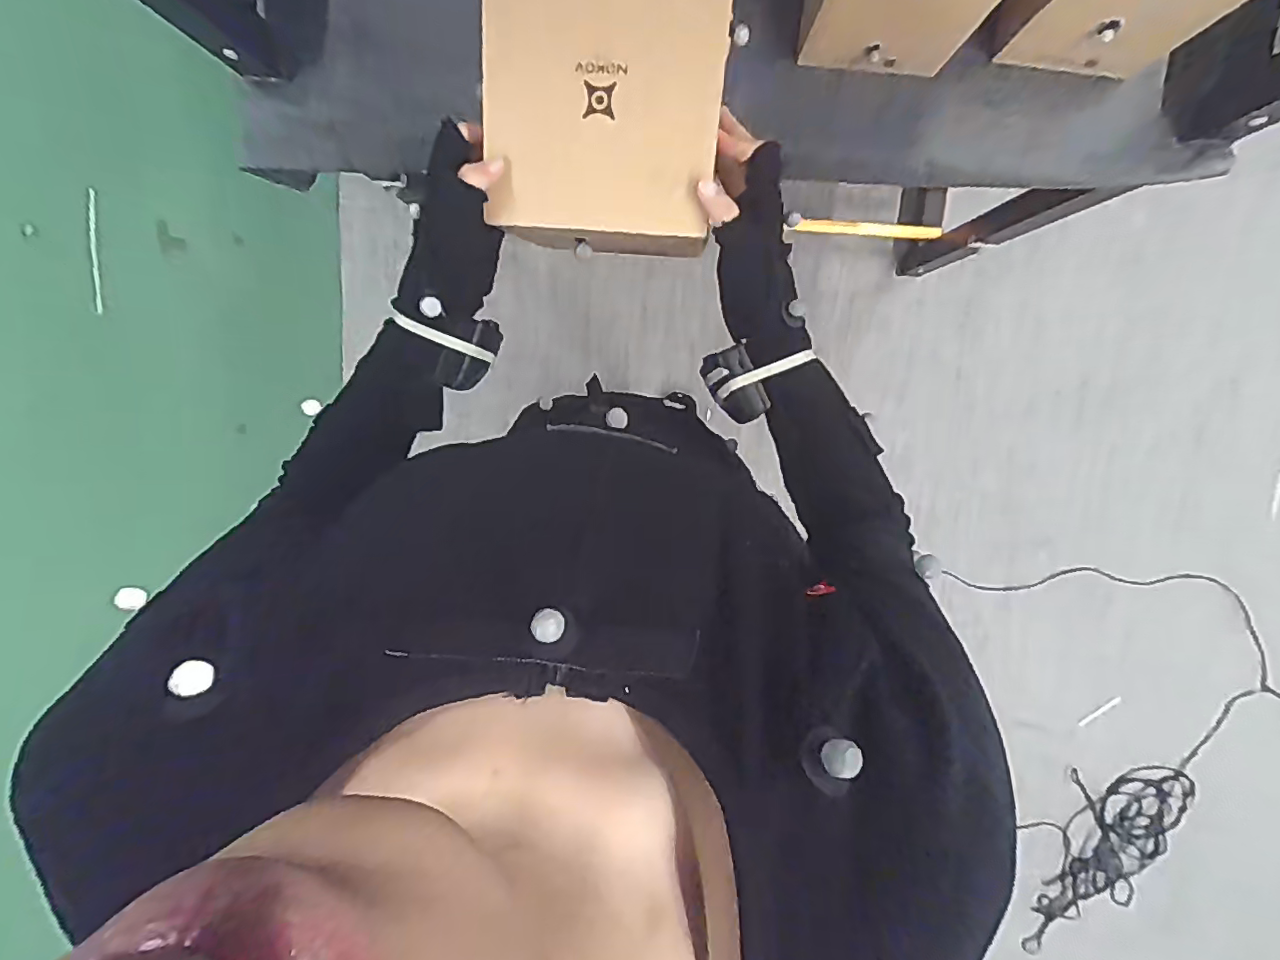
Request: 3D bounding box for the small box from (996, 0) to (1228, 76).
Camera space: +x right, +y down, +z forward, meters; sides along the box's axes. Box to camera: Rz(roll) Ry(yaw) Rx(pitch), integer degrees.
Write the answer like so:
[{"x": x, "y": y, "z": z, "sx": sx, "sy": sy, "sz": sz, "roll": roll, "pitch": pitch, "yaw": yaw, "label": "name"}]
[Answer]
[{"x": 0.501, "y": -0.552, "z": 0.544, "sx": 0.168, "sy": 0.176, "sz": 0.179, "roll": 8, "pitch": 99, "yaw": 0, "label": "small box"}]
